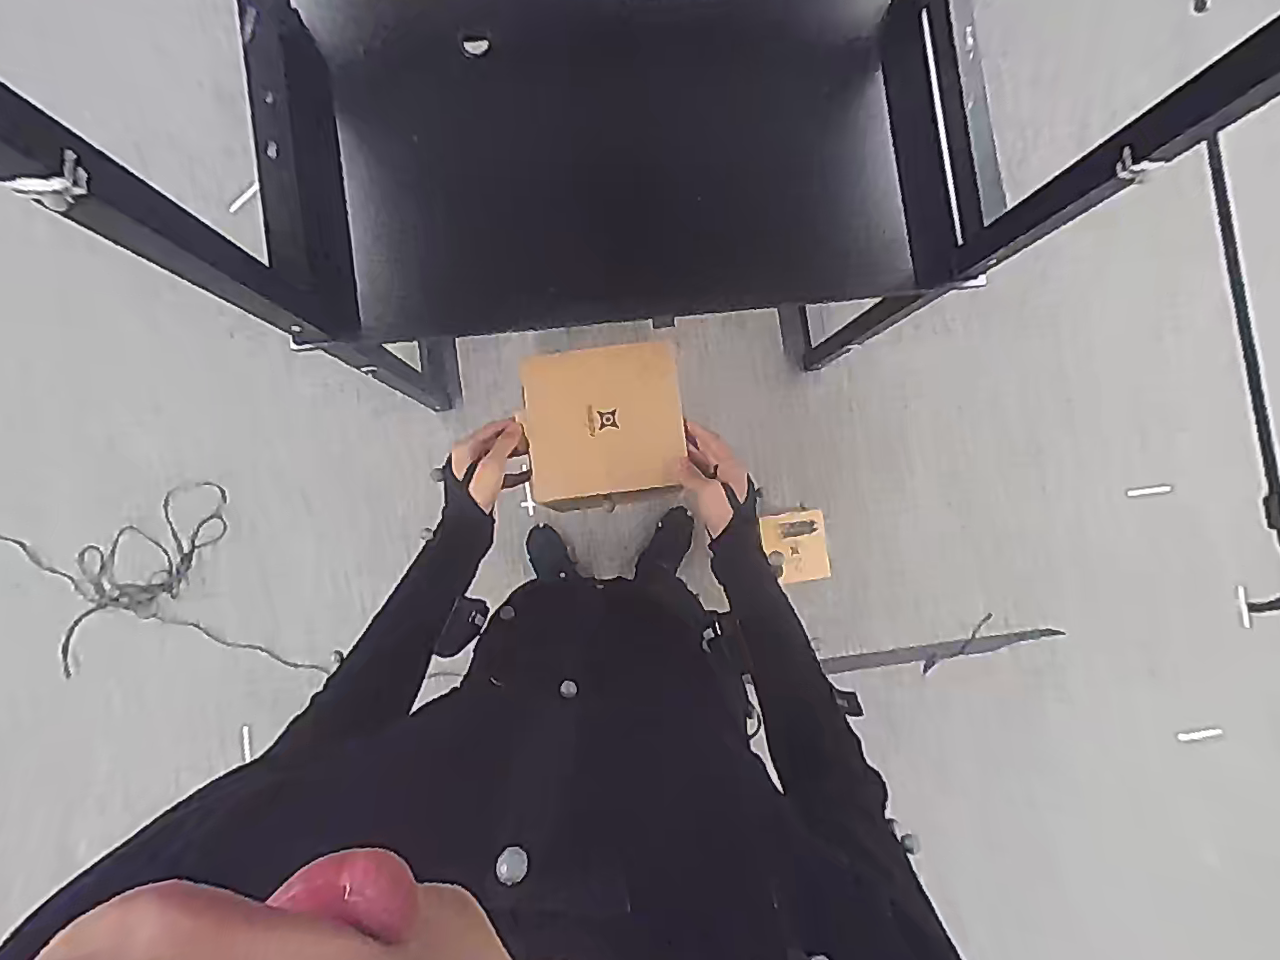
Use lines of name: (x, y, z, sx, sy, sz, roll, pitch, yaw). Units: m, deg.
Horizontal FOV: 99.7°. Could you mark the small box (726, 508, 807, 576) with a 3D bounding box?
small box: (0.363, 0.176, 1.576, 0.179, 0.176, 0.168, -9, 88, -4)
